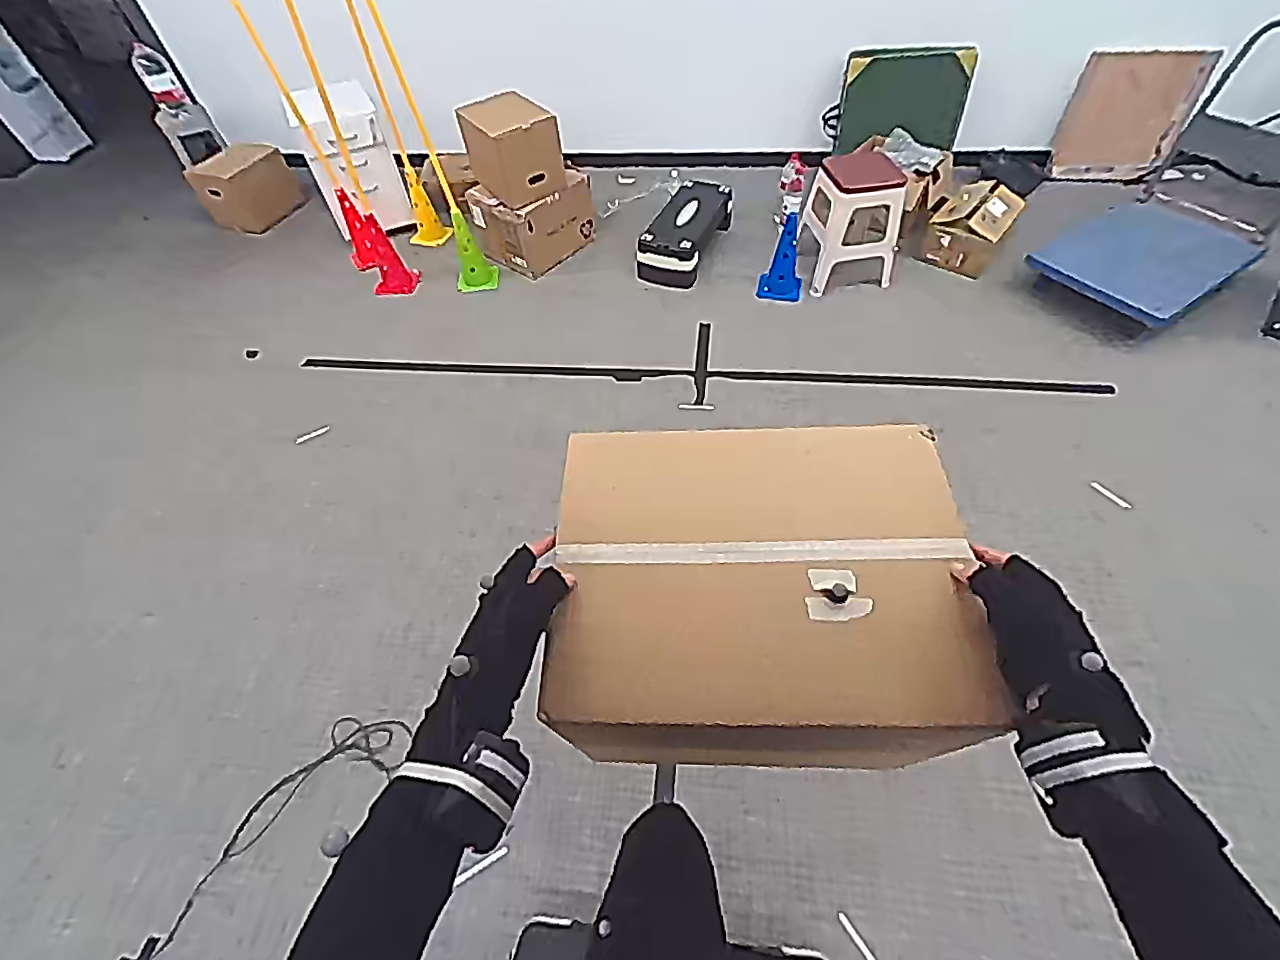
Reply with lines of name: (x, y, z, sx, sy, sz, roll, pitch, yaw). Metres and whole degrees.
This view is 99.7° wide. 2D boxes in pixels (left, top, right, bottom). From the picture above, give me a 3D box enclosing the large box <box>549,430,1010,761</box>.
large box: (0.123, 0.156, 0.669, 0.408, 0.320, 0.320, -1, 57, 3)
